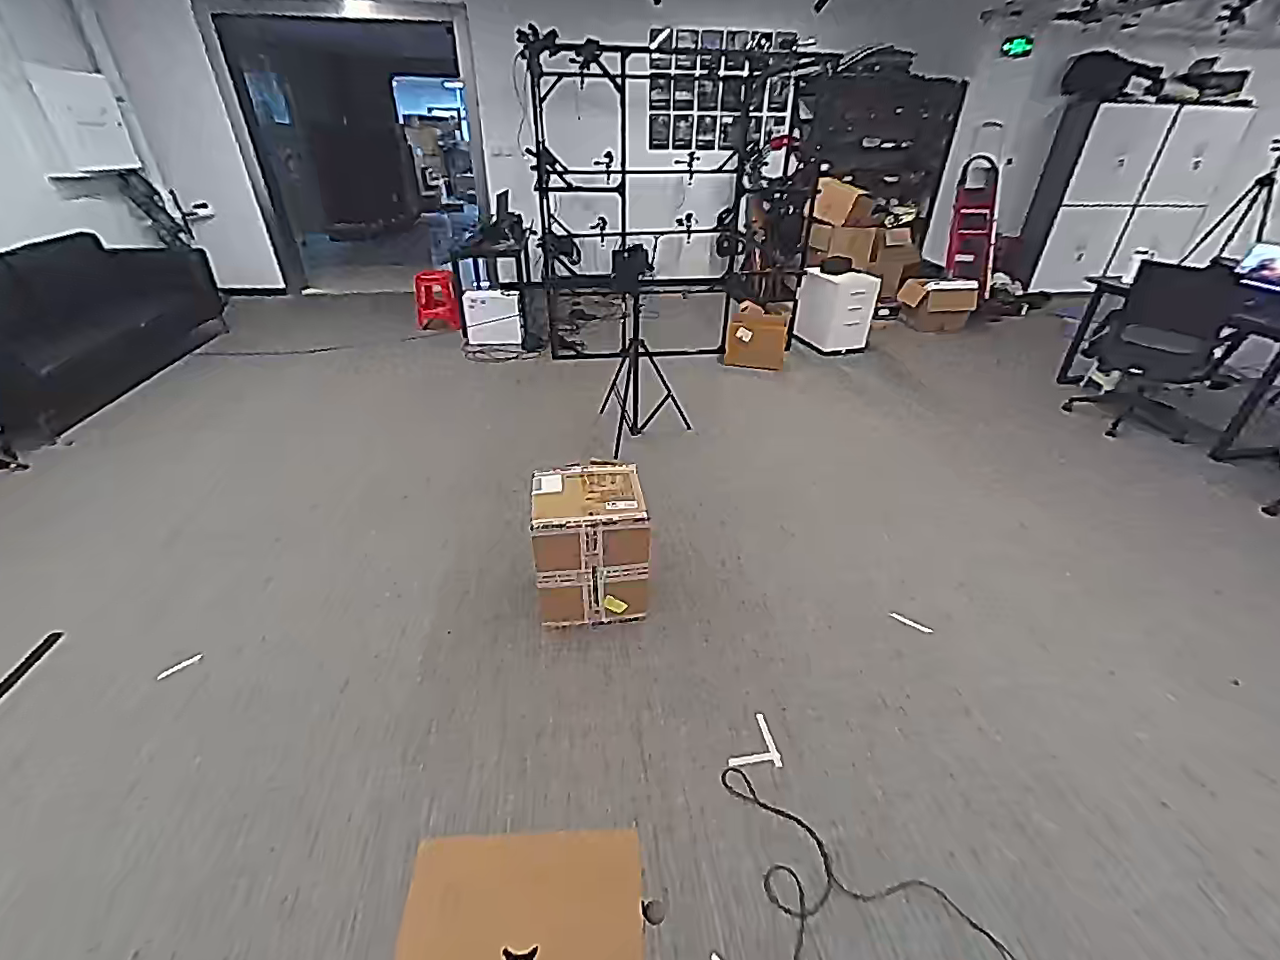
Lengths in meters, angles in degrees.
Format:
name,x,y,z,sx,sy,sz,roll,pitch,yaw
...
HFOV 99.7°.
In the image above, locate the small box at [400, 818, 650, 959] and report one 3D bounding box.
name,x,y,z,sx,sy,sz,roll,pitch,yaw
small box,-0.076,0.379,0.401,0.168,0.176,0.179,-2,41,-2
